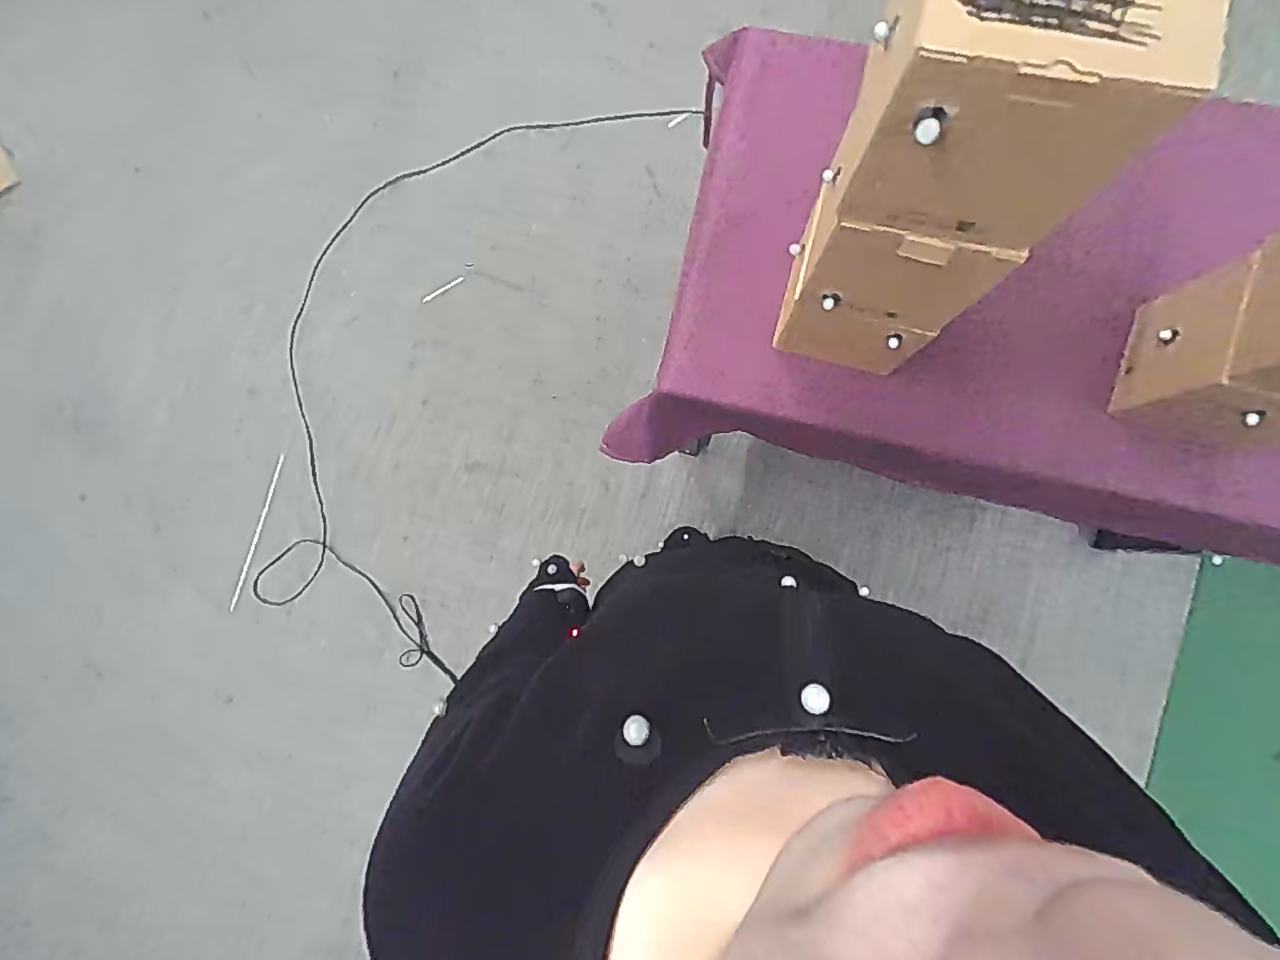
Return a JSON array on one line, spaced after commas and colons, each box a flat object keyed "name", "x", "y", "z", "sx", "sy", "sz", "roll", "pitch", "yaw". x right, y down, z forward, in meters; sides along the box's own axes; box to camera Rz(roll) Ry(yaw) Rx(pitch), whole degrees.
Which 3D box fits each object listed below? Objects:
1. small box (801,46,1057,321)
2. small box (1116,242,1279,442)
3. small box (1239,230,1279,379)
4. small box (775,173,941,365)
[{"name": "small box", "x": 0.277, "y": -0.287, "z": 0.560, "sx": 0.168, "sy": 0.176, "sz": 0.179, "roll": 14, "pitch": 85, "yaw": 6}, {"name": "small box", "x": 0.752, "y": -0.155, "z": 0.666, "sx": 0.179, "sy": 0.176, "sz": 0.168, "roll": 19, "pitch": 87, "yaw": 7}, {"name": "small box", "x": 0.740, "y": -0.179, "z": 0.505, "sx": 0.168, "sy": 0.176, "sz": 0.179, "roll": 19, "pitch": 86, "yaw": 6}, {"name": "small box", "x": 0.291, "y": -0.268, "z": 0.722, "sx": 0.179, "sy": 0.176, "sz": 0.168, "roll": 15, "pitch": 86, "yaw": 6}]
